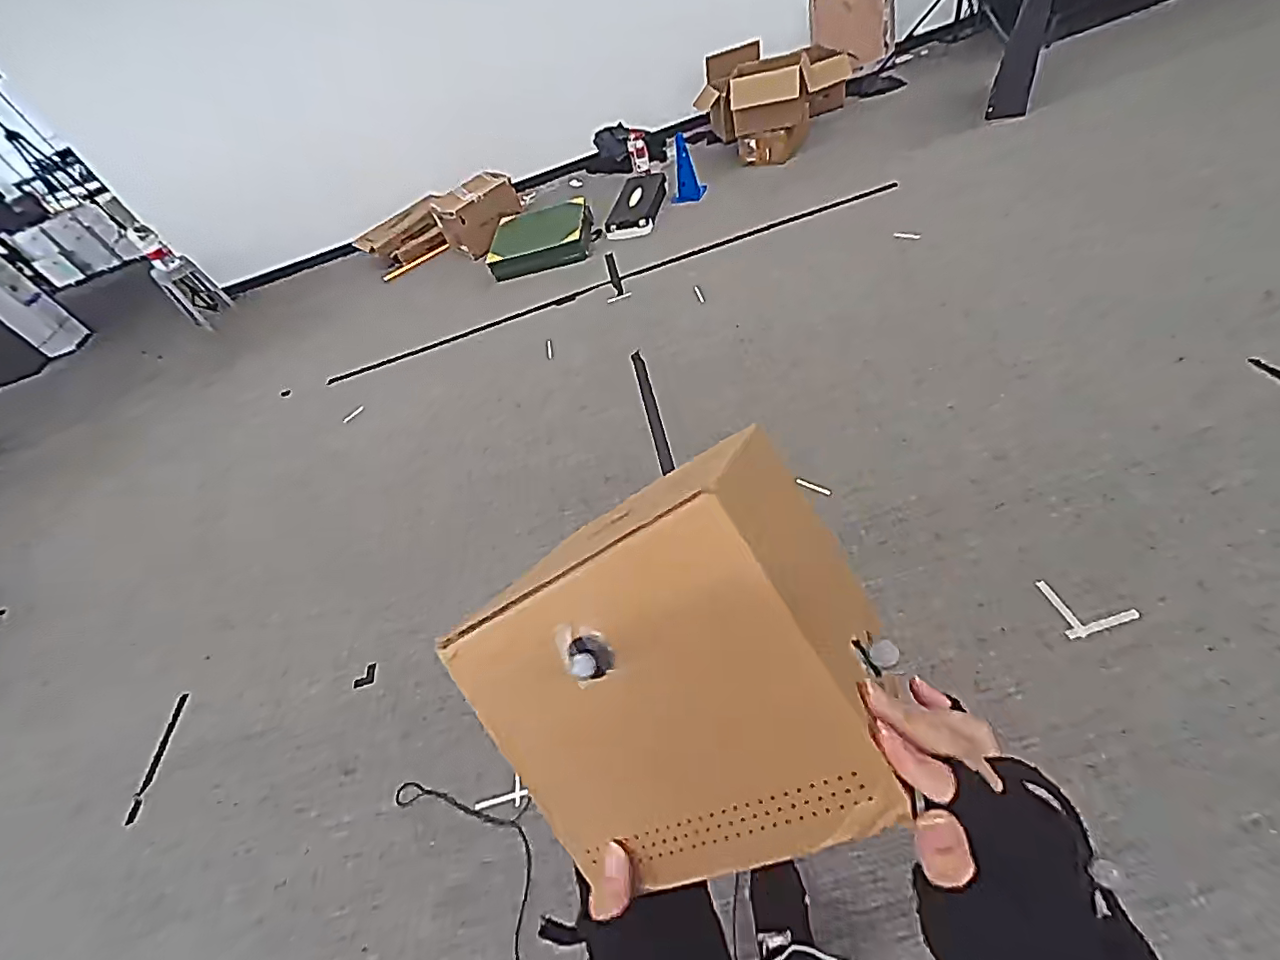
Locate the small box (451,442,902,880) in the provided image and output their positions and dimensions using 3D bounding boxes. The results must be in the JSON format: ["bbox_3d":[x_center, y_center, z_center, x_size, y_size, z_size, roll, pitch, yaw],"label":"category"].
[{"bbox_3d":[0.030,0.104,0.337,0.179,0.176,0.168,-33,2,25],"label":"small box"}]
